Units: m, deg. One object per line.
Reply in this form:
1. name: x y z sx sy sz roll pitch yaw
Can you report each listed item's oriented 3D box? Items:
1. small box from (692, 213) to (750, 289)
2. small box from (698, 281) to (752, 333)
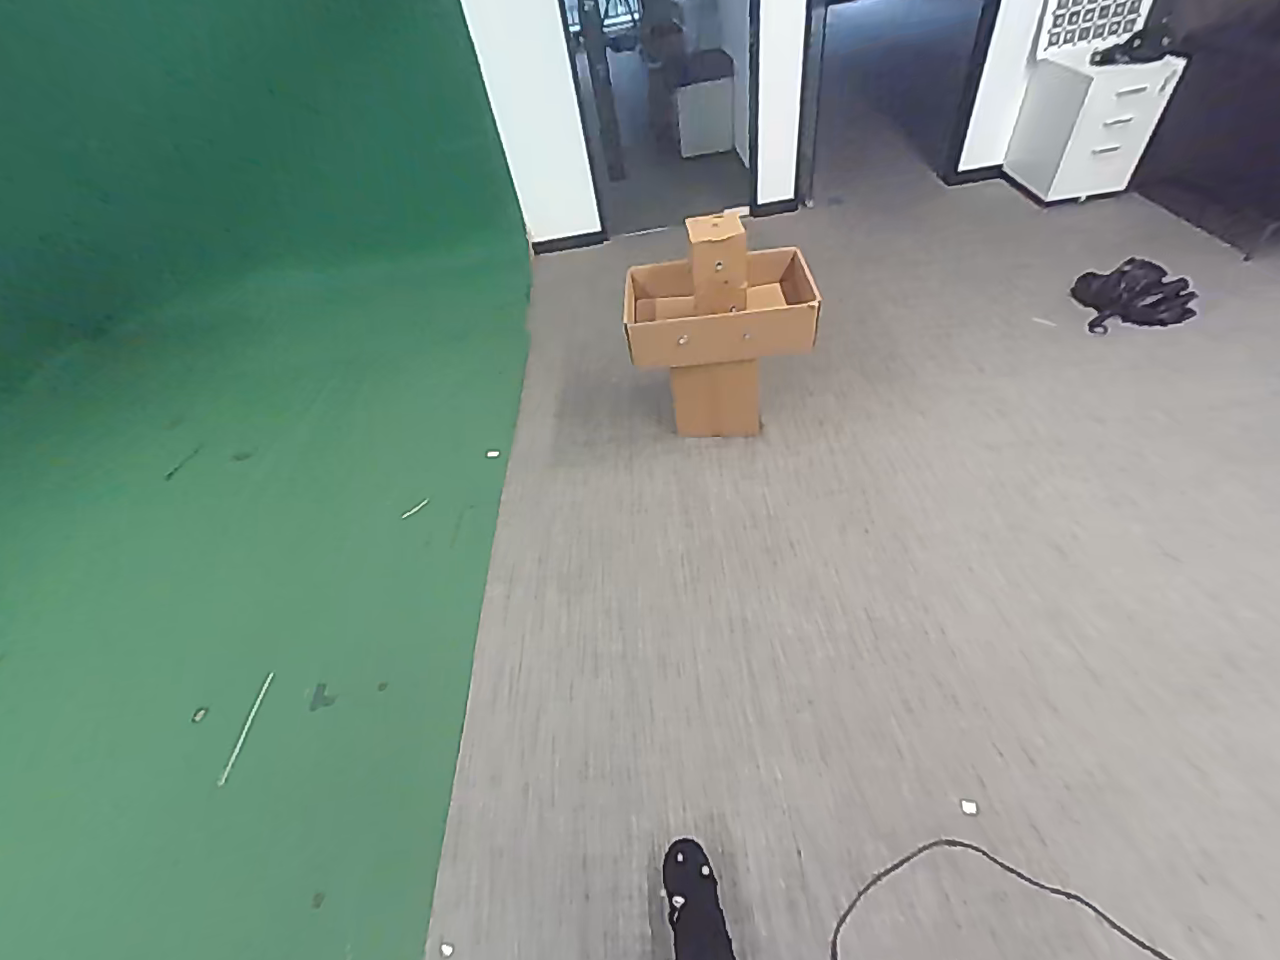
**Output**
1. small box: 0.260 -0.727 1.733 0.168 0.176 0.179 -6 47 4
2. small box: 0.289 -0.615 1.849 0.168 0.176 0.179 -6 45 4
